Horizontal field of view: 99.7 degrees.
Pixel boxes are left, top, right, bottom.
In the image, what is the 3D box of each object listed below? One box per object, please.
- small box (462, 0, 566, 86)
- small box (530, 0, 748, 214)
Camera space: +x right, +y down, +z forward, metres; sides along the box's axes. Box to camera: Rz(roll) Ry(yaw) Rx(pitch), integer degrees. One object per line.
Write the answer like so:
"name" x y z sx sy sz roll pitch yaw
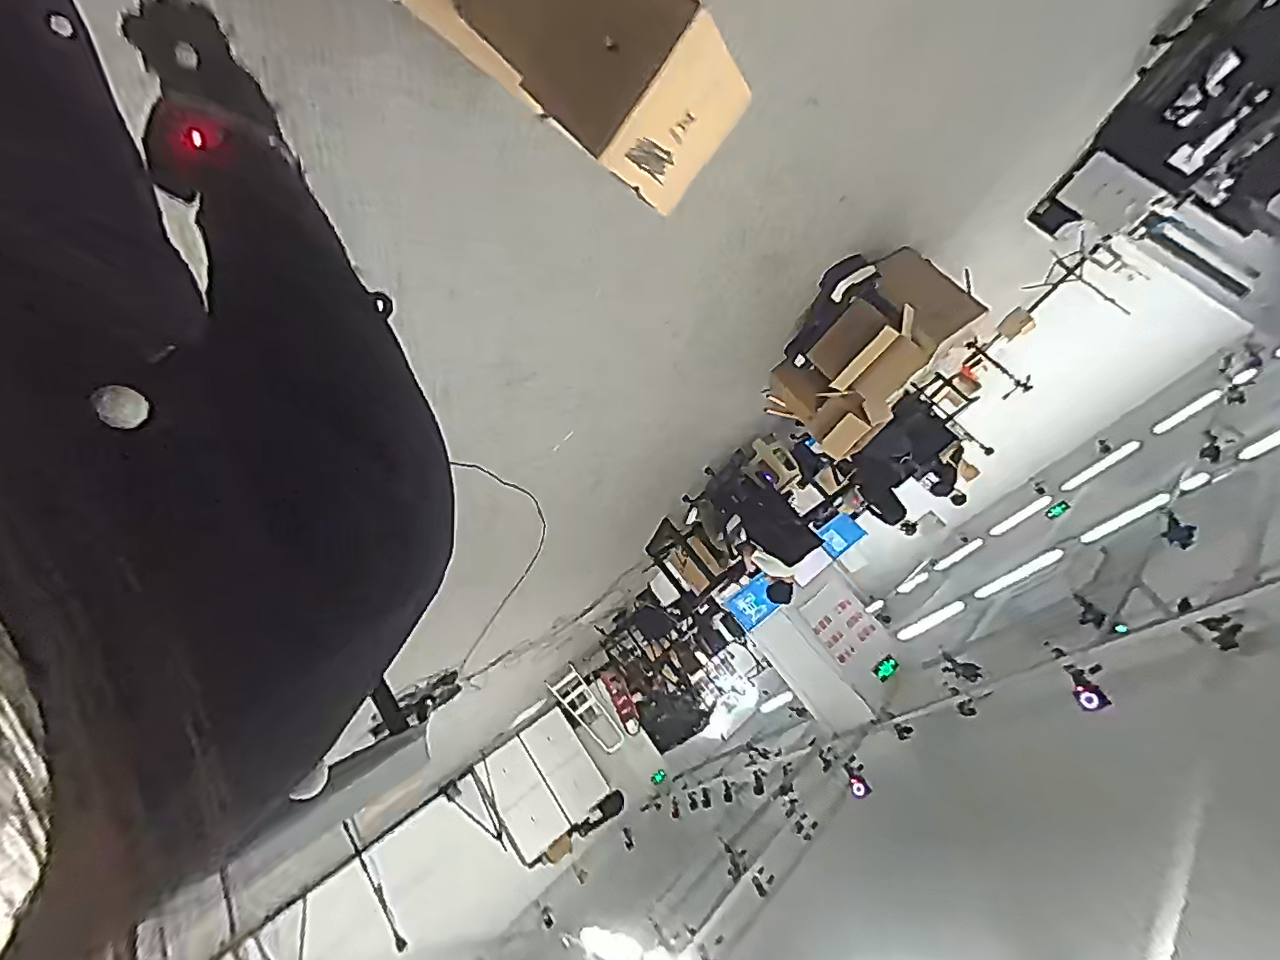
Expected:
"small box" -0.101 -0.602 0.712 0.168 0.176 0.179 -52 159 27
"small box" -0.007 -0.474 0.658 0.179 0.176 0.168 -49 160 22
